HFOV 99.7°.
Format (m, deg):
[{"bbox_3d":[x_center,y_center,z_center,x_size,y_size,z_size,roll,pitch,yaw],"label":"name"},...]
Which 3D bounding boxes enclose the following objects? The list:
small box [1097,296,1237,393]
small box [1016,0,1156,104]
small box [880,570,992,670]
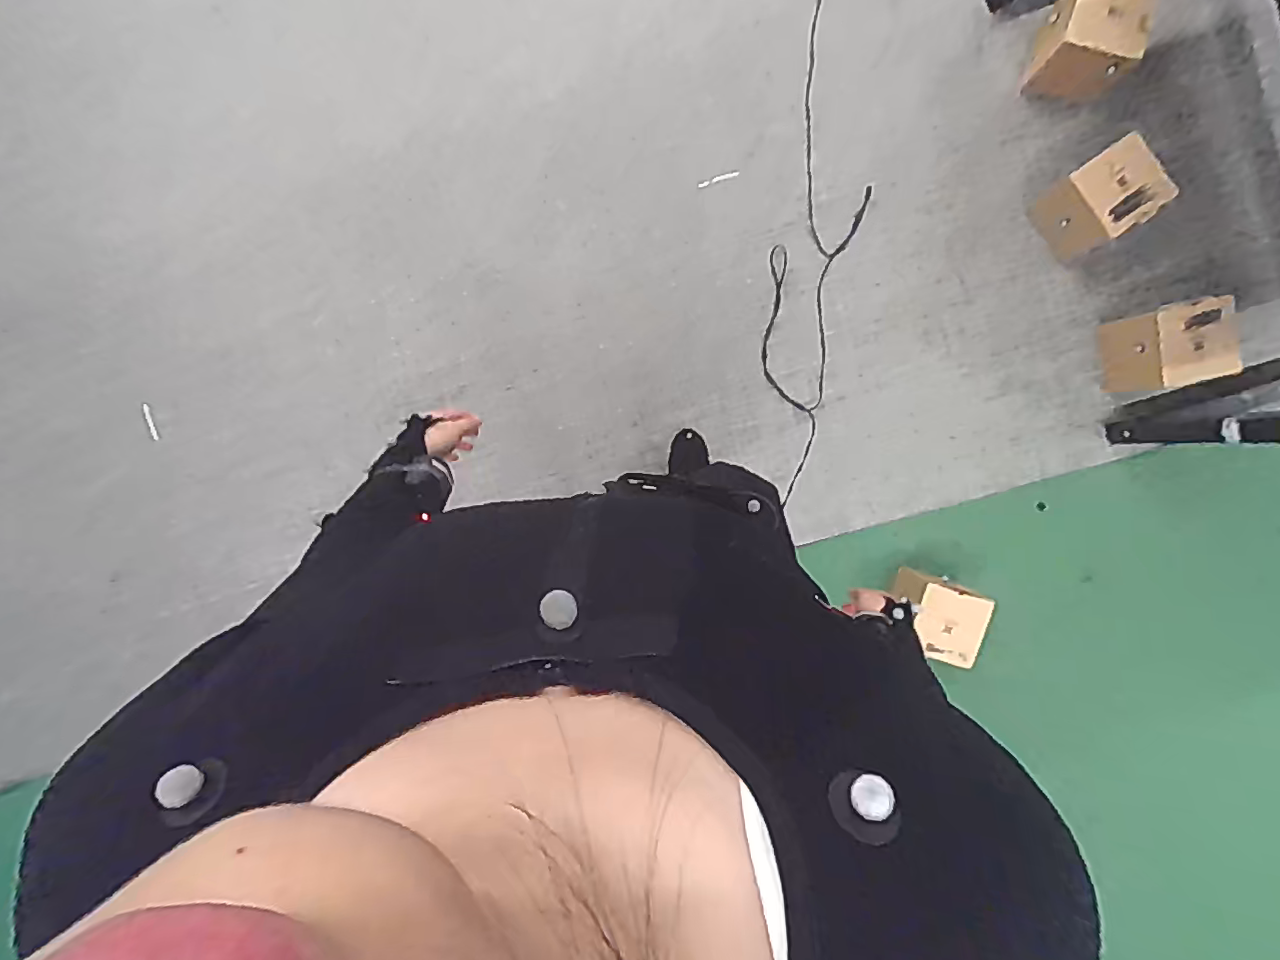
[{"bbox_3d":[1.236,-0.313,1.283,0.168,0.176,0.179,-12,94,5],"label":"small box"},{"bbox_3d":[1.027,-1.019,1.257,0.179,0.176,0.168,16,94,2],"label":"small box"},{"bbox_3d":[0.733,0.342,1.360,0.168,0.176,0.179,17,94,2],"label":"small box"}]
